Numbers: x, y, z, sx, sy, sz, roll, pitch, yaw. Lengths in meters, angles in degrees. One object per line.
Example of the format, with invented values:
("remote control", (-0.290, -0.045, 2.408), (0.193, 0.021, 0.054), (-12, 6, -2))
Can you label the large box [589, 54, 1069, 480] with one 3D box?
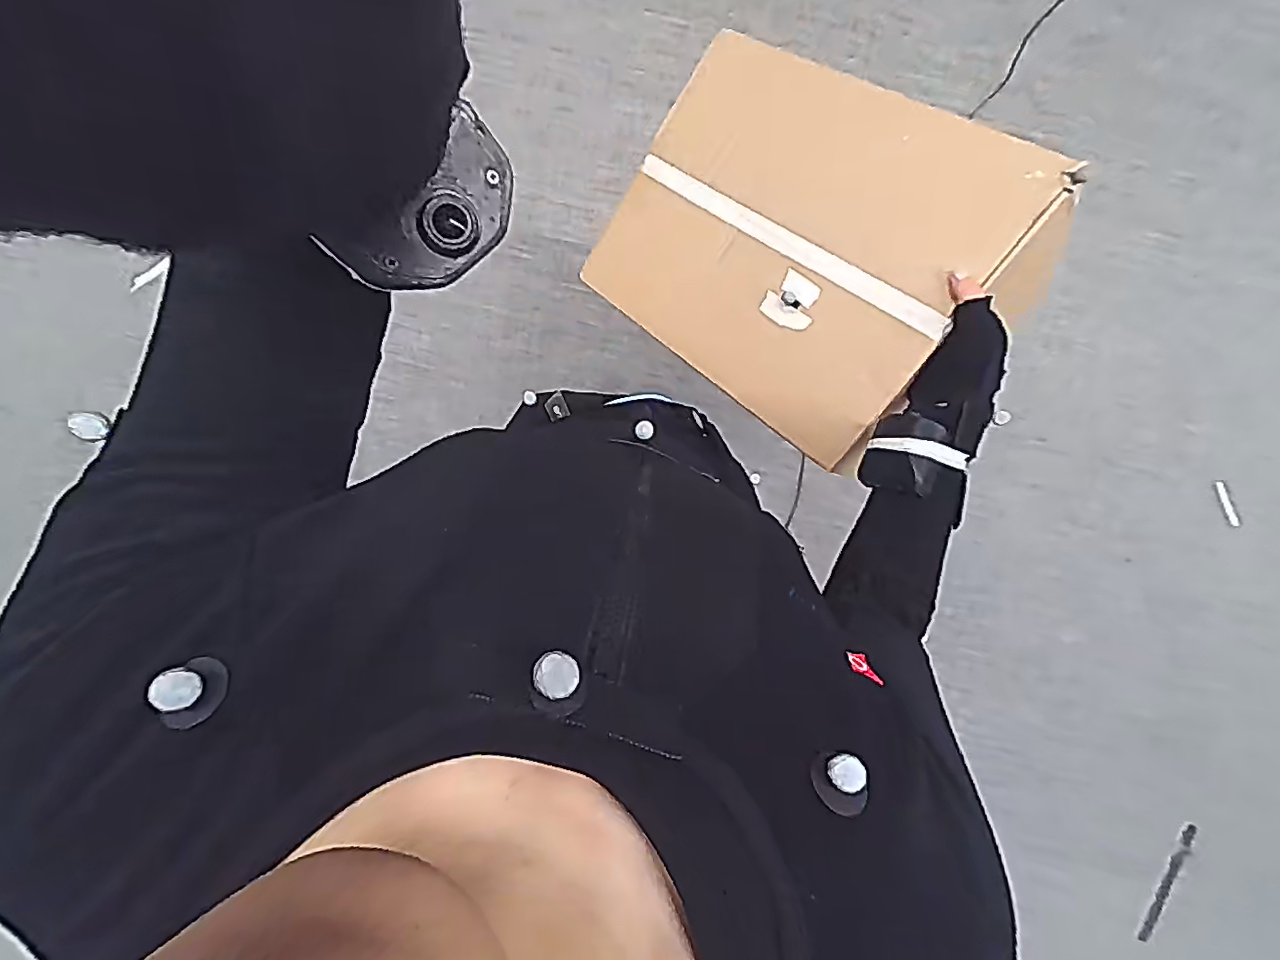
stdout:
("large box", (0.220, -0.243, 0.705), (0.408, 0.320, 0.320), (44, 110, 25))
